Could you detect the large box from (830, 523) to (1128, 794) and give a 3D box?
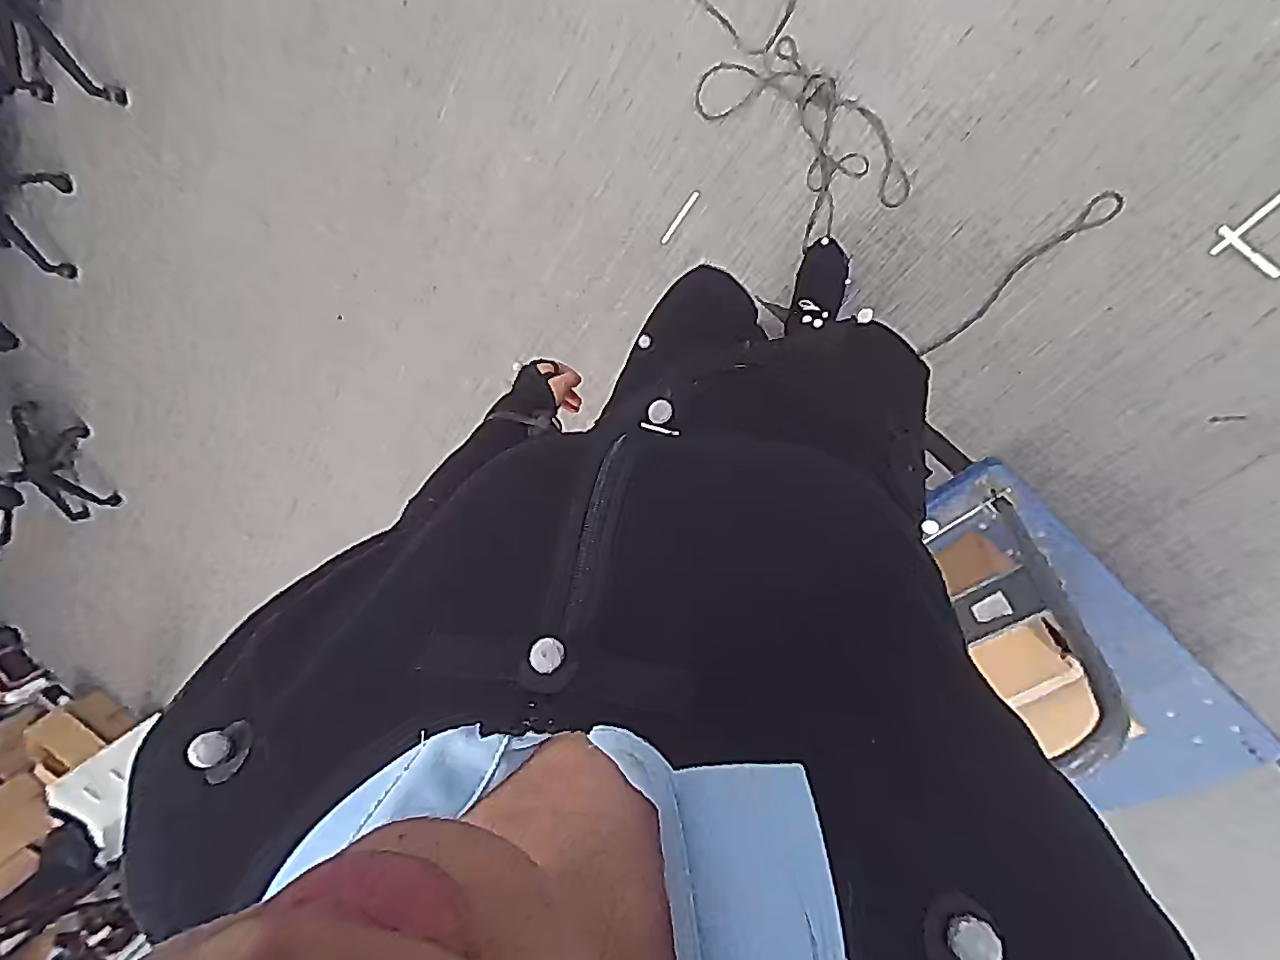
[{"bbox_3d":[0.669,0.370,1.153,0.320,0.320,0.408,42,122,1],"label":"large box"}]
